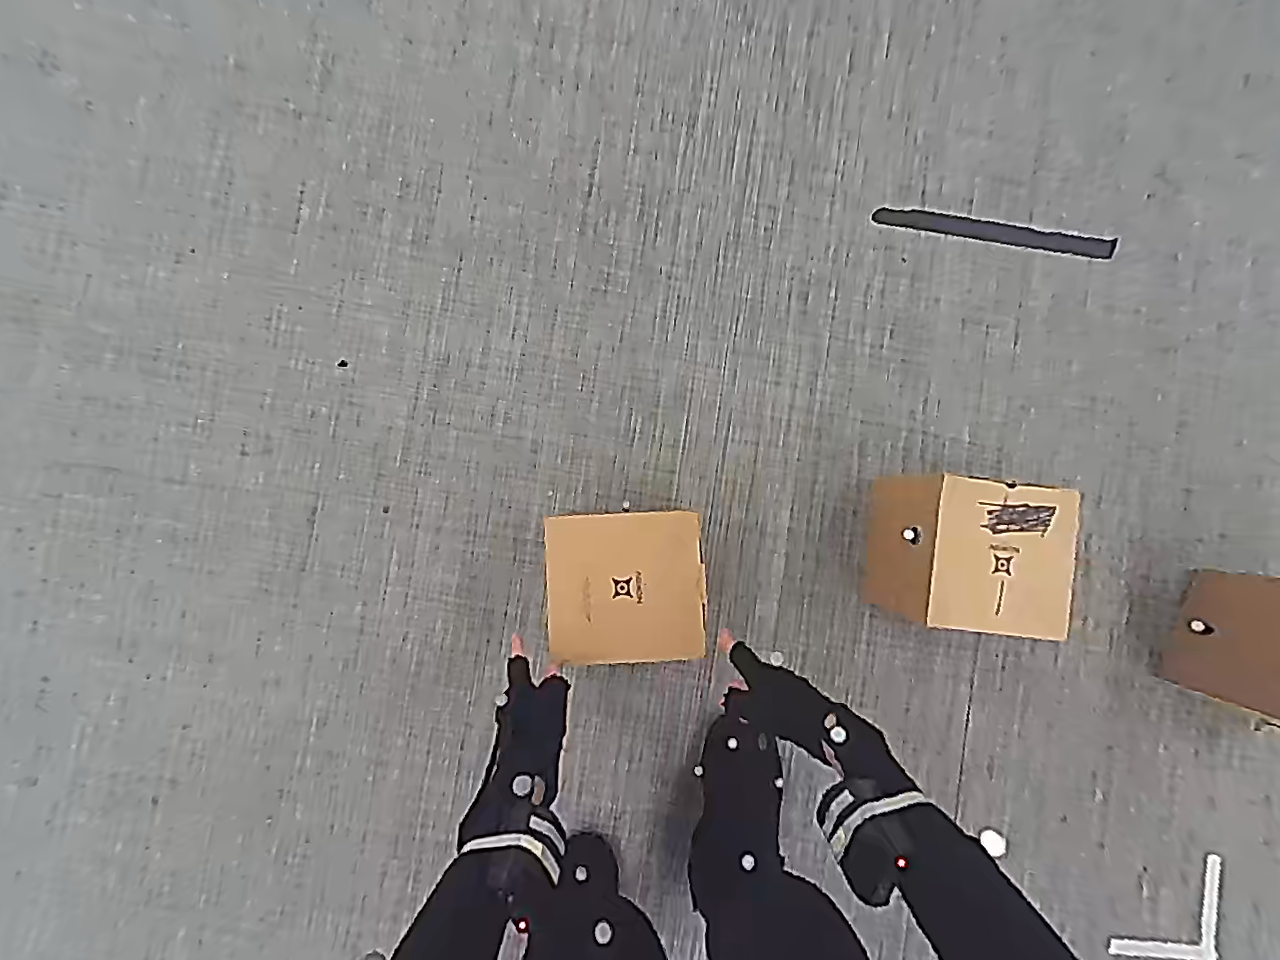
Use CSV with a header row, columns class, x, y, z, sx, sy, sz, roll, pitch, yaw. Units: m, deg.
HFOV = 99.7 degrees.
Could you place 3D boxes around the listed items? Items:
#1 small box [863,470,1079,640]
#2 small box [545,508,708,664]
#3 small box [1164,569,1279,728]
class,x,y,z,sx,sy,sz,roll,pitch,yaw
small box,0.404,0.087,0.687,0.168,0.176,0.179,7,88,-2
small box,-0.018,0.120,0.674,0.179,0.176,0.168,-3,86,-1
small box,0.850,0.233,0.700,0.168,0.176,0.179,23,88,-1
